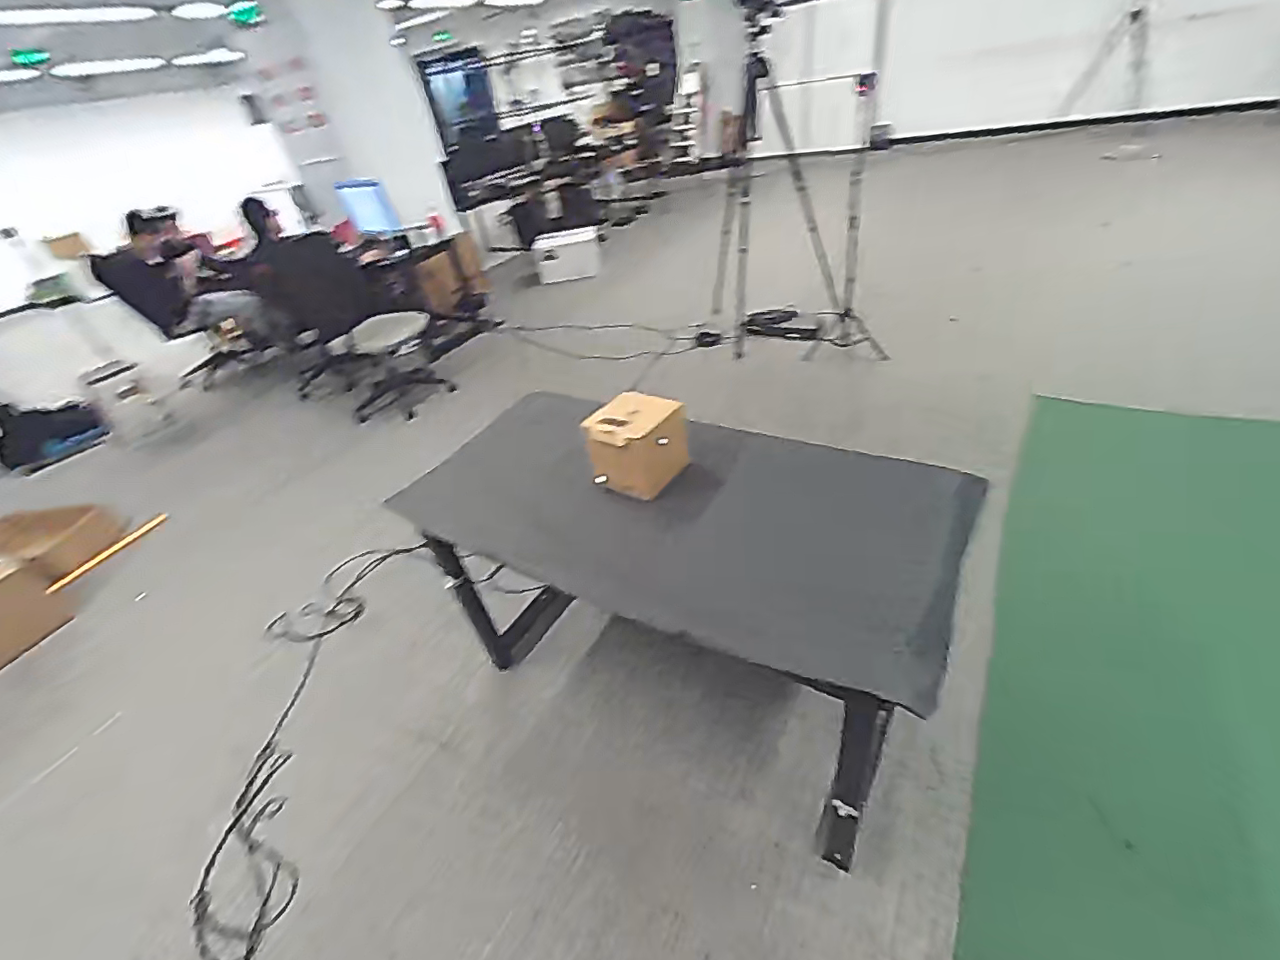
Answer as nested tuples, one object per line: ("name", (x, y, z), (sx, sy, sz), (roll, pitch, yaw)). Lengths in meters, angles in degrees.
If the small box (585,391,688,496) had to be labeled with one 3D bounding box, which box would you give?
("small box", (0.001, -0.087, 1.277), (0.168, 0.176, 0.179), (18, 45, 33))
